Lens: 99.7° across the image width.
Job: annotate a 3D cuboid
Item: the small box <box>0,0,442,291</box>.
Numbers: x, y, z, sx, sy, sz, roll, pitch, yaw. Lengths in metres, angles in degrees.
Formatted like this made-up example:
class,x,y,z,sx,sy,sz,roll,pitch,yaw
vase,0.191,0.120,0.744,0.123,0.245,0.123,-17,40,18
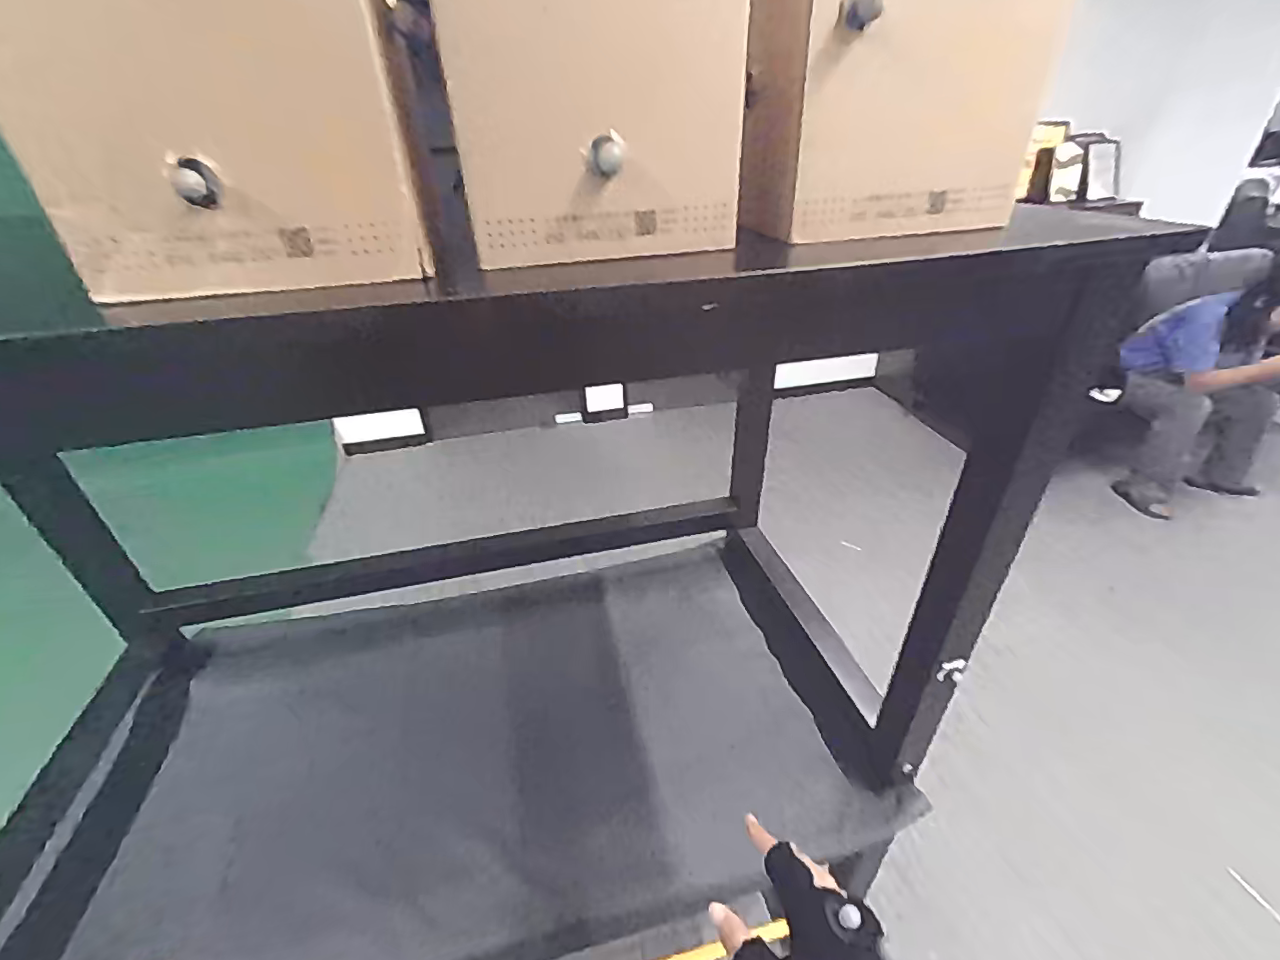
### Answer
class,x,y,z,sx,sy,sz,roll,pitch,yaw
small box,-0.222,-0.217,0.323,0.168,0.176,0.179,-9,33,-12
